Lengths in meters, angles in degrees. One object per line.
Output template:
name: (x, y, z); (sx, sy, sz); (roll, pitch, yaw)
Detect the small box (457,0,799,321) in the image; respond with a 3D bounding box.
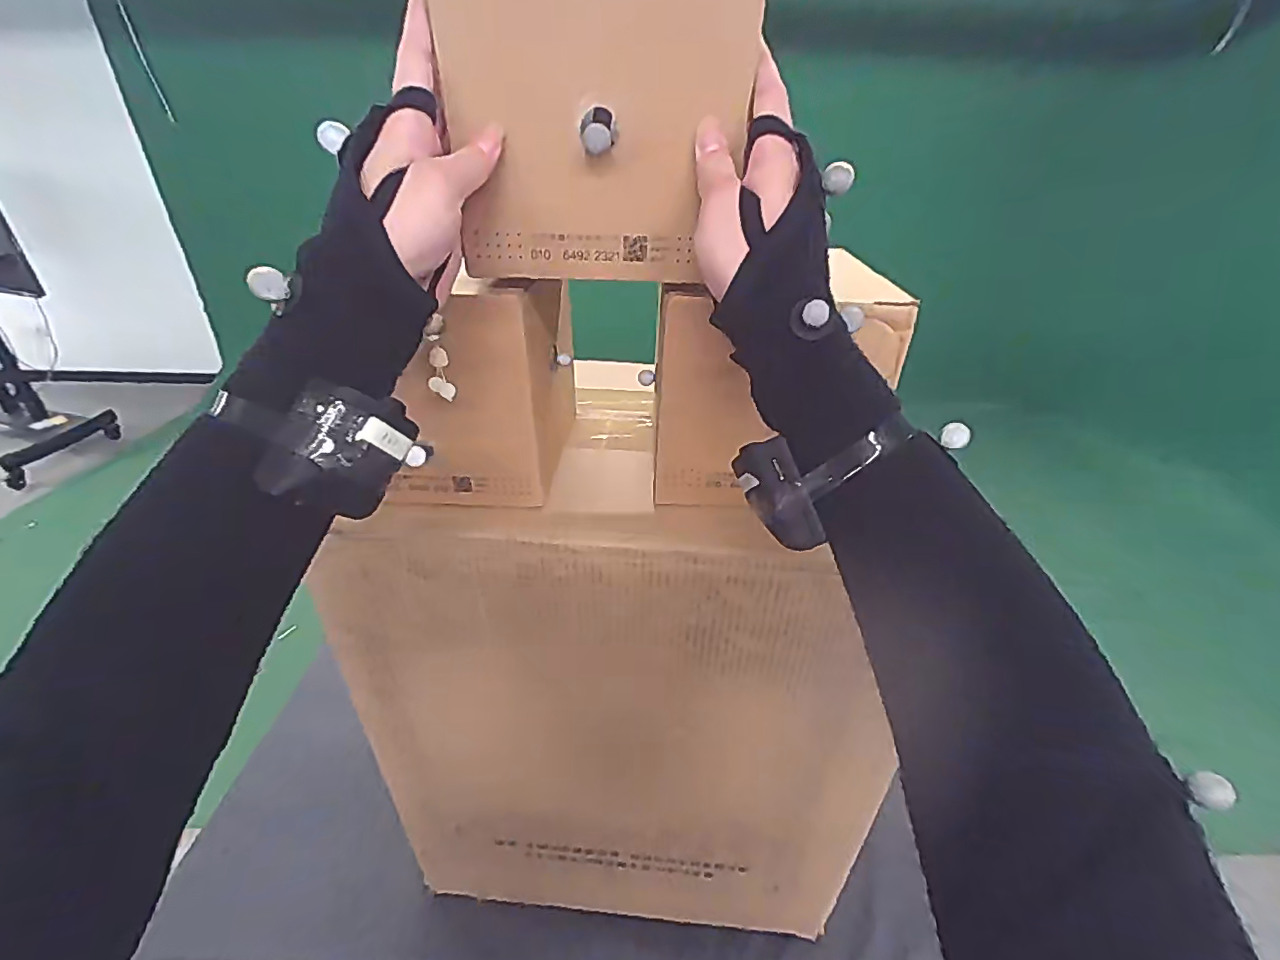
small box: (-0.009, -0.213, 0.361); (0.168, 0.176, 0.179); (-1, 36, -4)

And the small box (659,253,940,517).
small box: (0.107, -0.084, 0.454); (0.168, 0.176, 0.179); (3, 34, -3)

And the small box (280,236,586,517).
small box: (-0.139, -0.092, 0.443); (0.168, 0.176, 0.179); (3, 35, 4)
